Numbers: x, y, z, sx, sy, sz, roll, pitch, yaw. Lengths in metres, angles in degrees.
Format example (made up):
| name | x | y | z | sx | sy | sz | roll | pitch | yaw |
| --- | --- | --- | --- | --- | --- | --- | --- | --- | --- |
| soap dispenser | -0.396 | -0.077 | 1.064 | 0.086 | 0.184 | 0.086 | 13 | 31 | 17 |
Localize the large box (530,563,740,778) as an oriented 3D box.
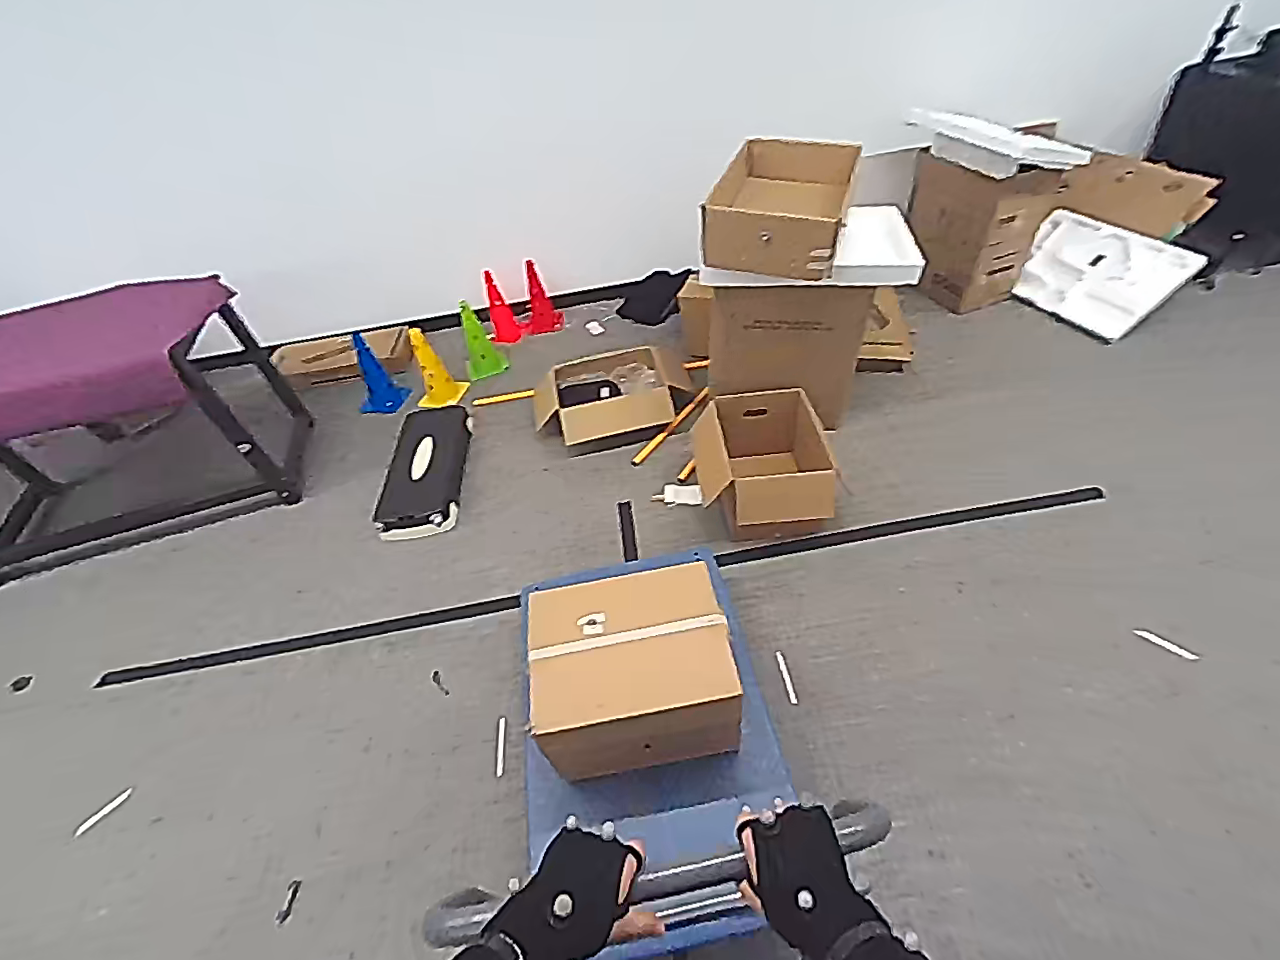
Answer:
| name | x | y | z | sx | sy | sz | roll | pitch | yaw |
| --- | --- | --- | --- | --- | --- | --- | --- | --- | --- |
| large box | -0.011 | 0.435 | 1.229 | 0.408 | 0.320 | 0.320 | -11 | 45 | -2 |
